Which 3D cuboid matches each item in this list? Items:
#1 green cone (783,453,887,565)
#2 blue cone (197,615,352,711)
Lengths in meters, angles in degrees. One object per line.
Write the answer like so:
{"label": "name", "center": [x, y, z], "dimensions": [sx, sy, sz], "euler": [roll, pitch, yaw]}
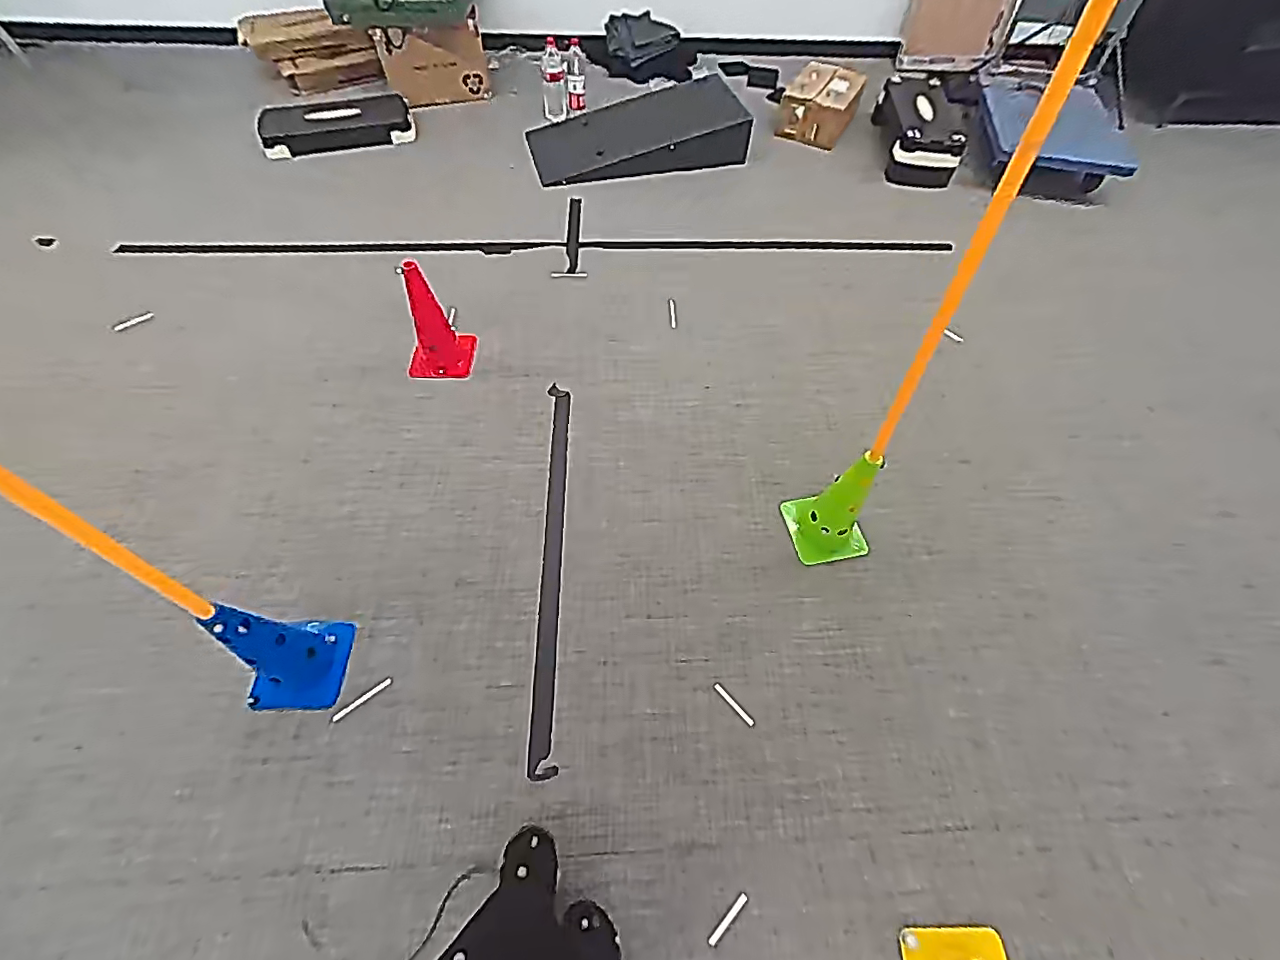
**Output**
{"label": "green cone", "center": [0.524, 0.045, 1.369], "dimensions": [0.200, 0.368, 0.202], "euler": [-10, 60, -8]}
{"label": "blue cone", "center": [-0.785, 0.352, 1.134], "dimensions": [0.193, 0.380, 0.192], "euler": [2, 57, -1]}
